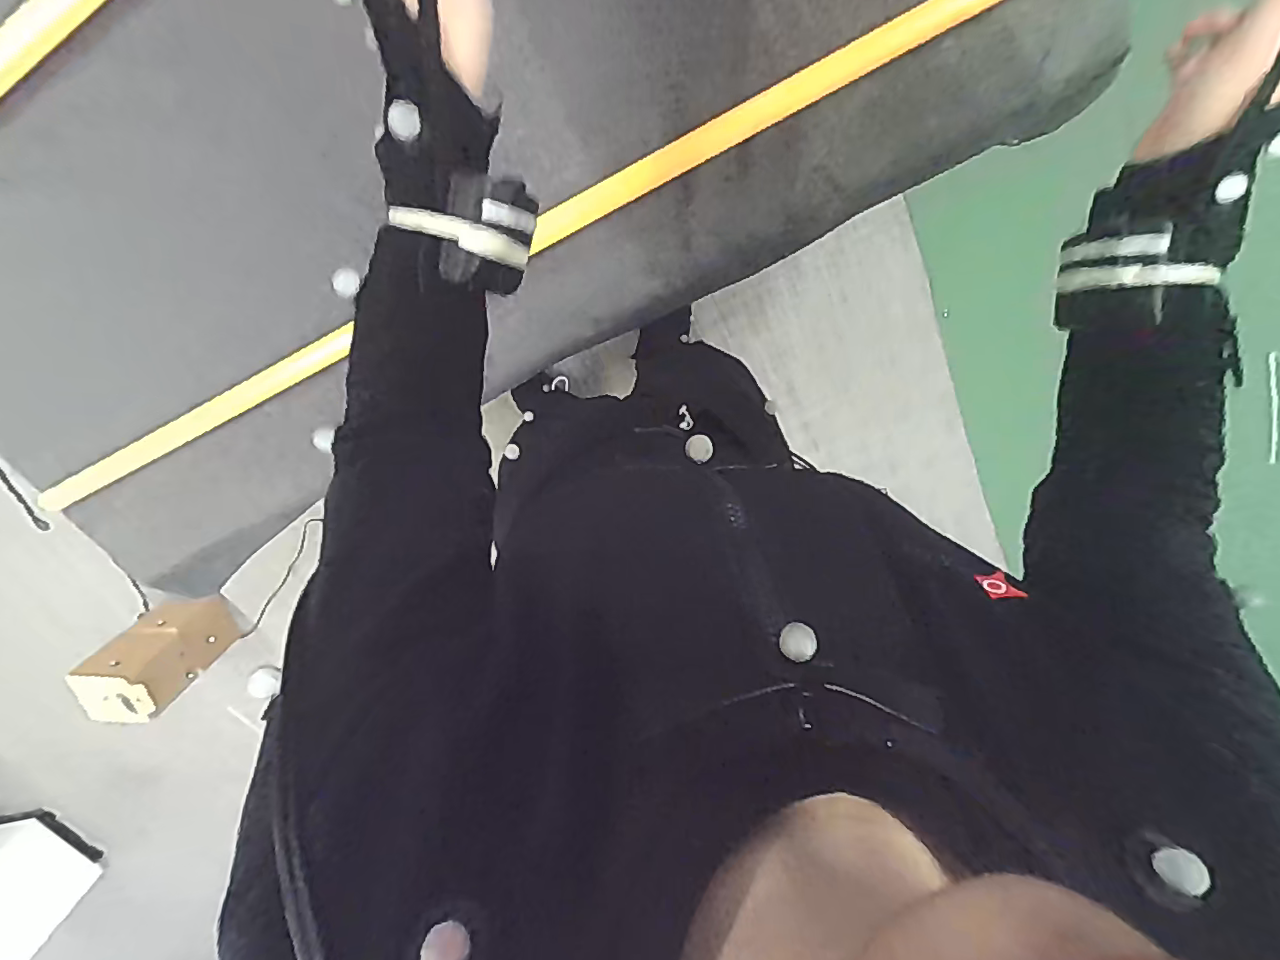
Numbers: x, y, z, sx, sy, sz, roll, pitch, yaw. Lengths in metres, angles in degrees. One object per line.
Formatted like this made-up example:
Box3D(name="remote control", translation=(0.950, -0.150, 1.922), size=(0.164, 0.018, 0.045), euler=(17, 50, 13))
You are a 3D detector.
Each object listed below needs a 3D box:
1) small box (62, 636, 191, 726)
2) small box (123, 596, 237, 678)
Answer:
Box3D(name="small box", translation=(-1.391, 0.547, 1.485), size=(0.179, 0.176, 0.168), euler=(1, 115, 3))
Box3D(name="small box", translation=(-1.374, 0.472, 1.632), size=(0.168, 0.176, 0.179), euler=(-4, 115, 5))
